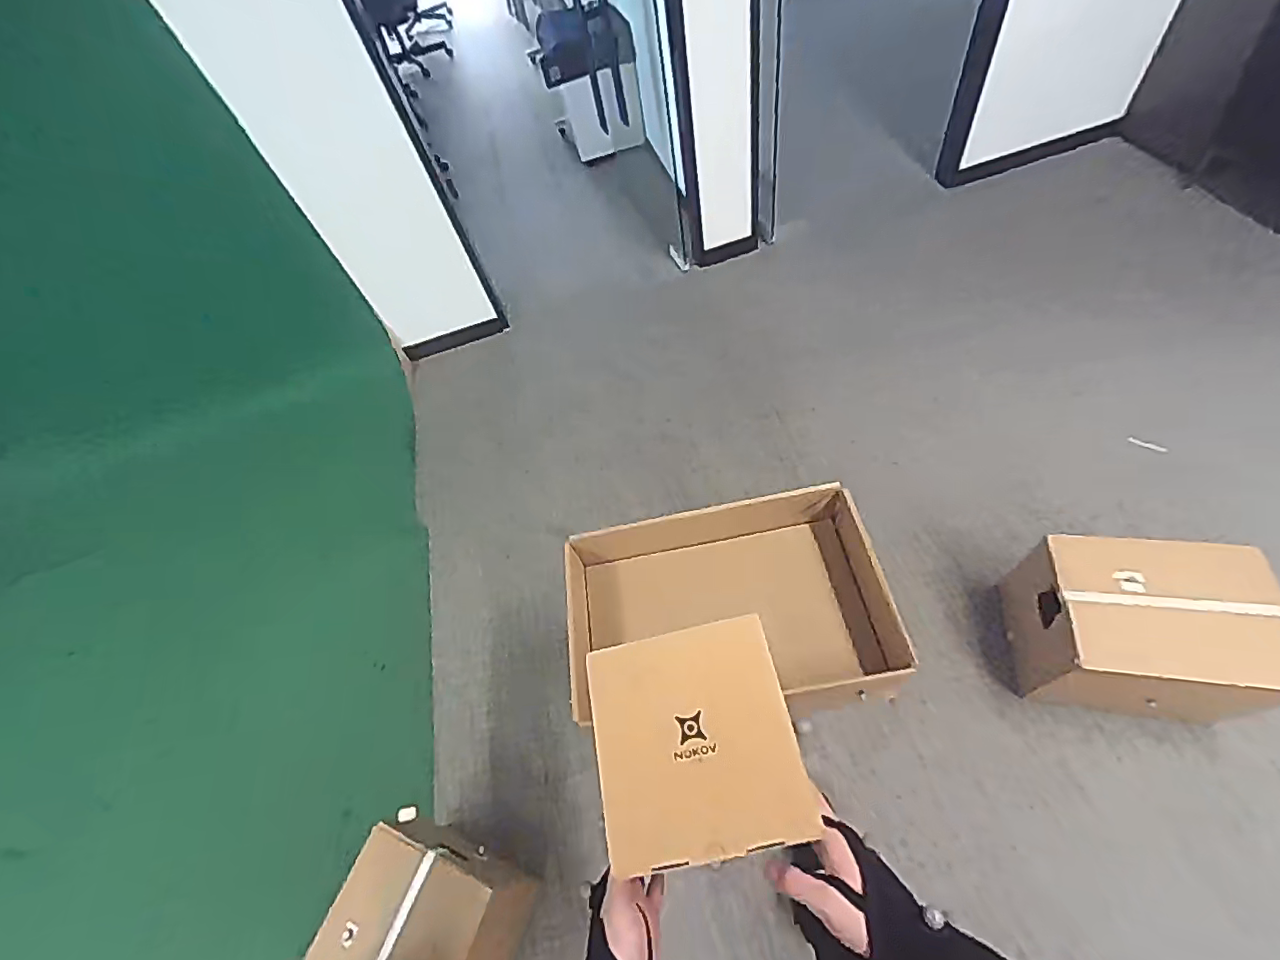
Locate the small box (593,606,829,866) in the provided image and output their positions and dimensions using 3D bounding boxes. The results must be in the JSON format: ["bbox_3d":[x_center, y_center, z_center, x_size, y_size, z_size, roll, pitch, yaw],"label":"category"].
[{"bbox_3d":[0.062,0.245,0.519,0.168,0.176,0.179,-15,58,3],"label":"small box"}]

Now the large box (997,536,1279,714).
[{"bbox_3d":[1.132,0.341,1.259,0.408,0.320,0.320,2,57,14],"label":"large box"}]
